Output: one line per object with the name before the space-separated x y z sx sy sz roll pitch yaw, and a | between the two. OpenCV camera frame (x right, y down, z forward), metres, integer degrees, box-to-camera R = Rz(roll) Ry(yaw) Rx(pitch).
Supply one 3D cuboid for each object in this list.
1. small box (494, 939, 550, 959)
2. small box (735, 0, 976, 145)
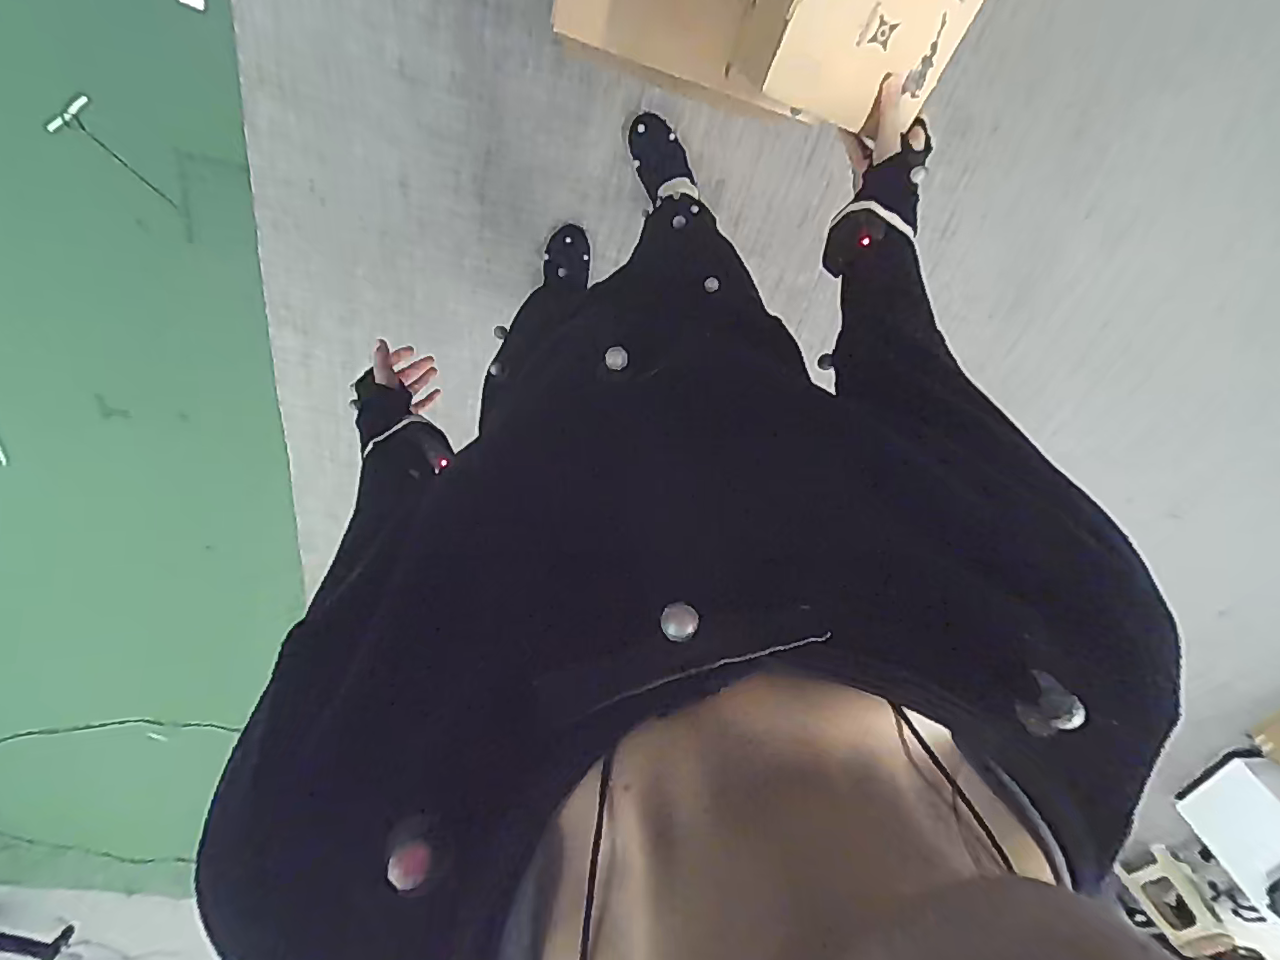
small box | -0.402 1.663 1.802 0.179 0.176 0.168 12 122 -9
small box | 0.219 -0.497 0.580 0.179 0.176 0.168 12 134 -15
